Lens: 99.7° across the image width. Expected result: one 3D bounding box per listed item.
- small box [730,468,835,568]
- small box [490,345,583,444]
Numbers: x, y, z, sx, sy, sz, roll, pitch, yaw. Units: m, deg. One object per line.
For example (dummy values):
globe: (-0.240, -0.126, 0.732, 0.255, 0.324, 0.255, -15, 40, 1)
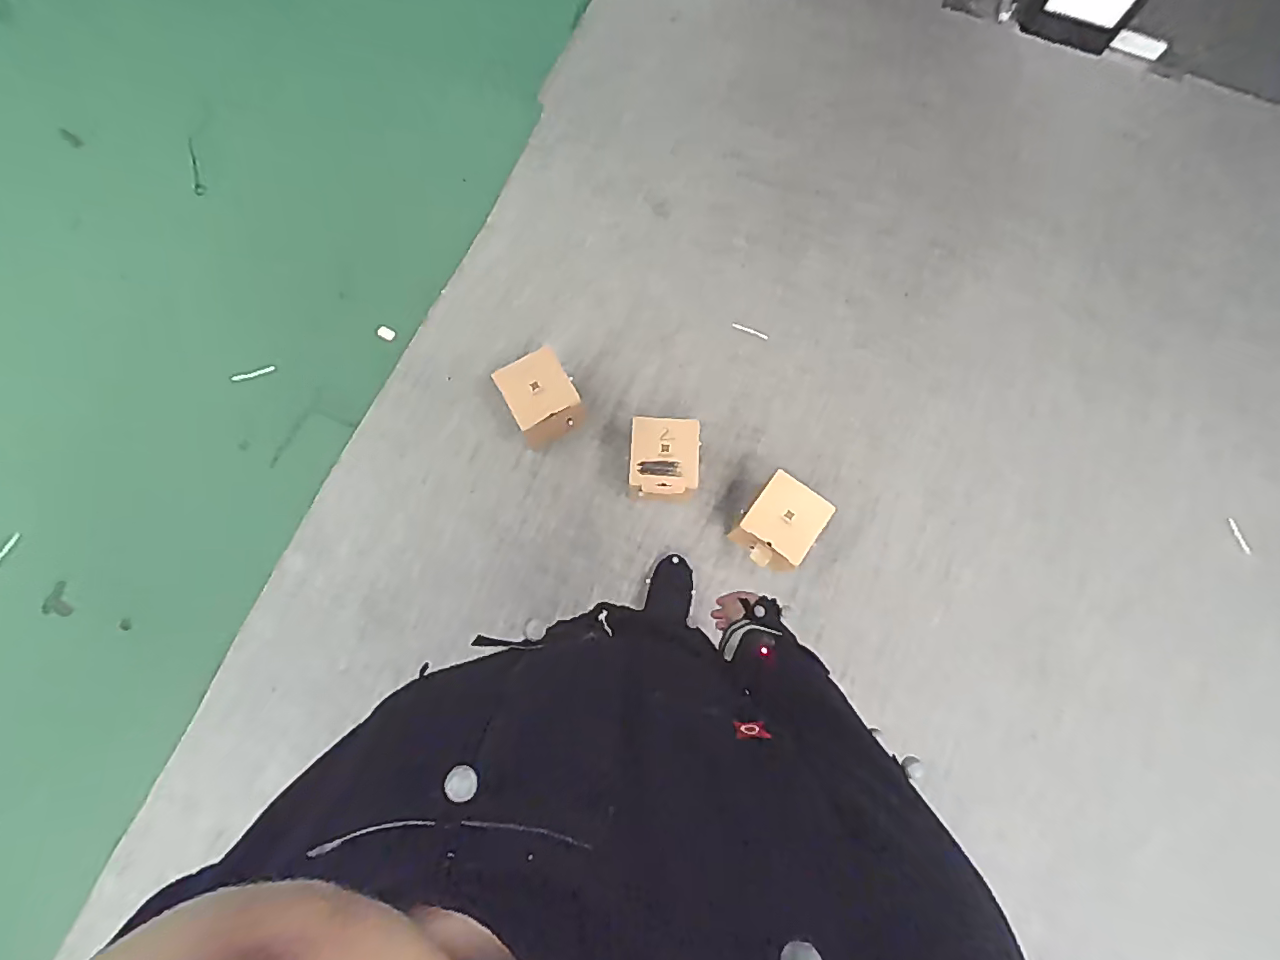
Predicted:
small box: (0.344, 0.101, 1.342, 0.168, 0.176, 0.179, 36, 79, 7)
small box: (-0.259, -0.210, 1.401, 0.168, 0.176, 0.179, -30, 78, -9)
